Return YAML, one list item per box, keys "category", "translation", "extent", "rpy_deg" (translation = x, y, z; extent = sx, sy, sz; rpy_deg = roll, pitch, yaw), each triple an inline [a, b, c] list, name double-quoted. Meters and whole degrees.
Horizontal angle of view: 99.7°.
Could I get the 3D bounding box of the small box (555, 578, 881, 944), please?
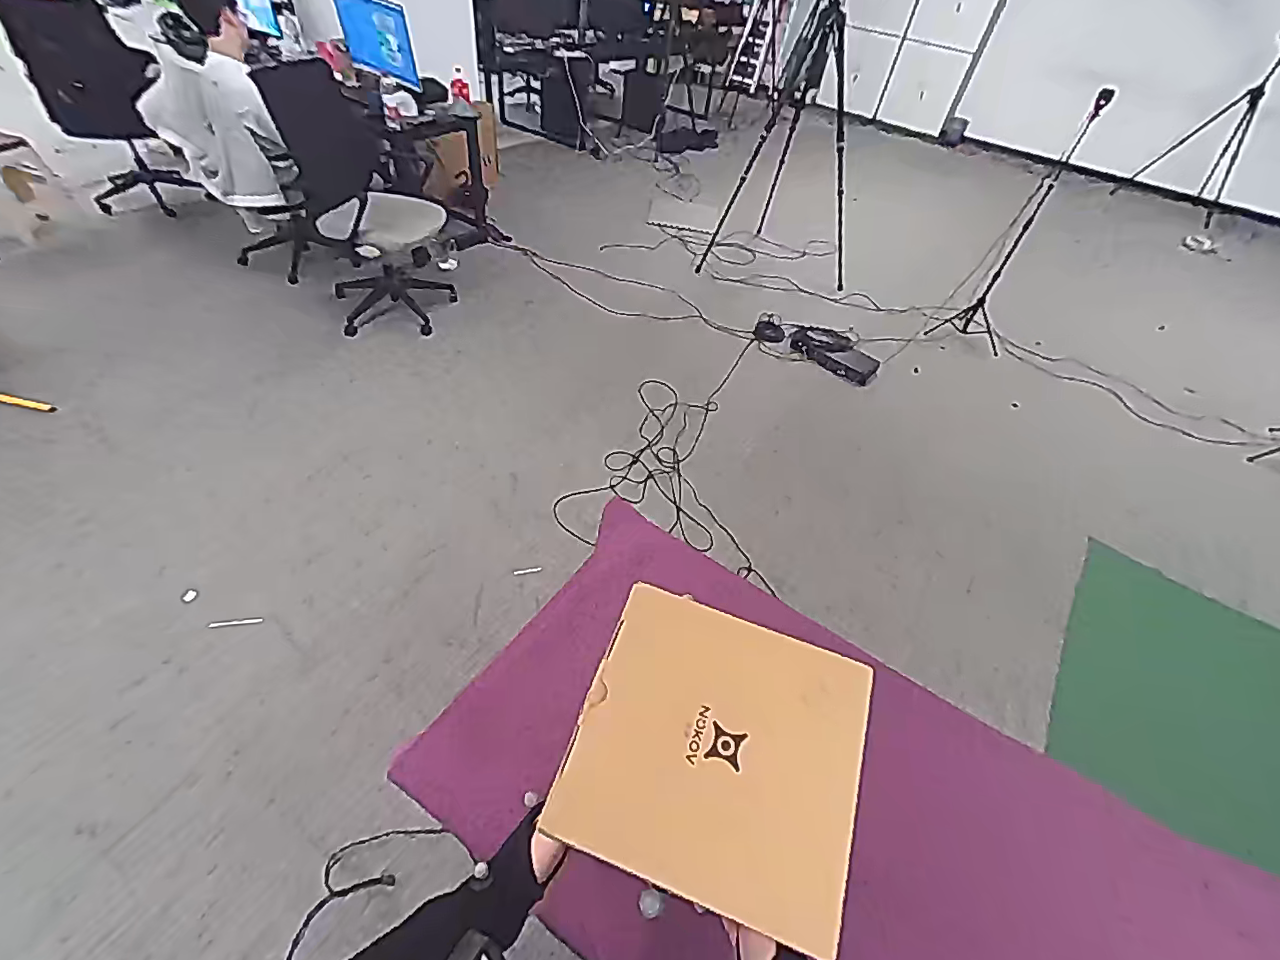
- category: "small box"
  translation: [0.055, 0.203, 0.414]
  extent: [0.179, 0.176, 0.168]
  rpy_deg: [18, 59, 9]
